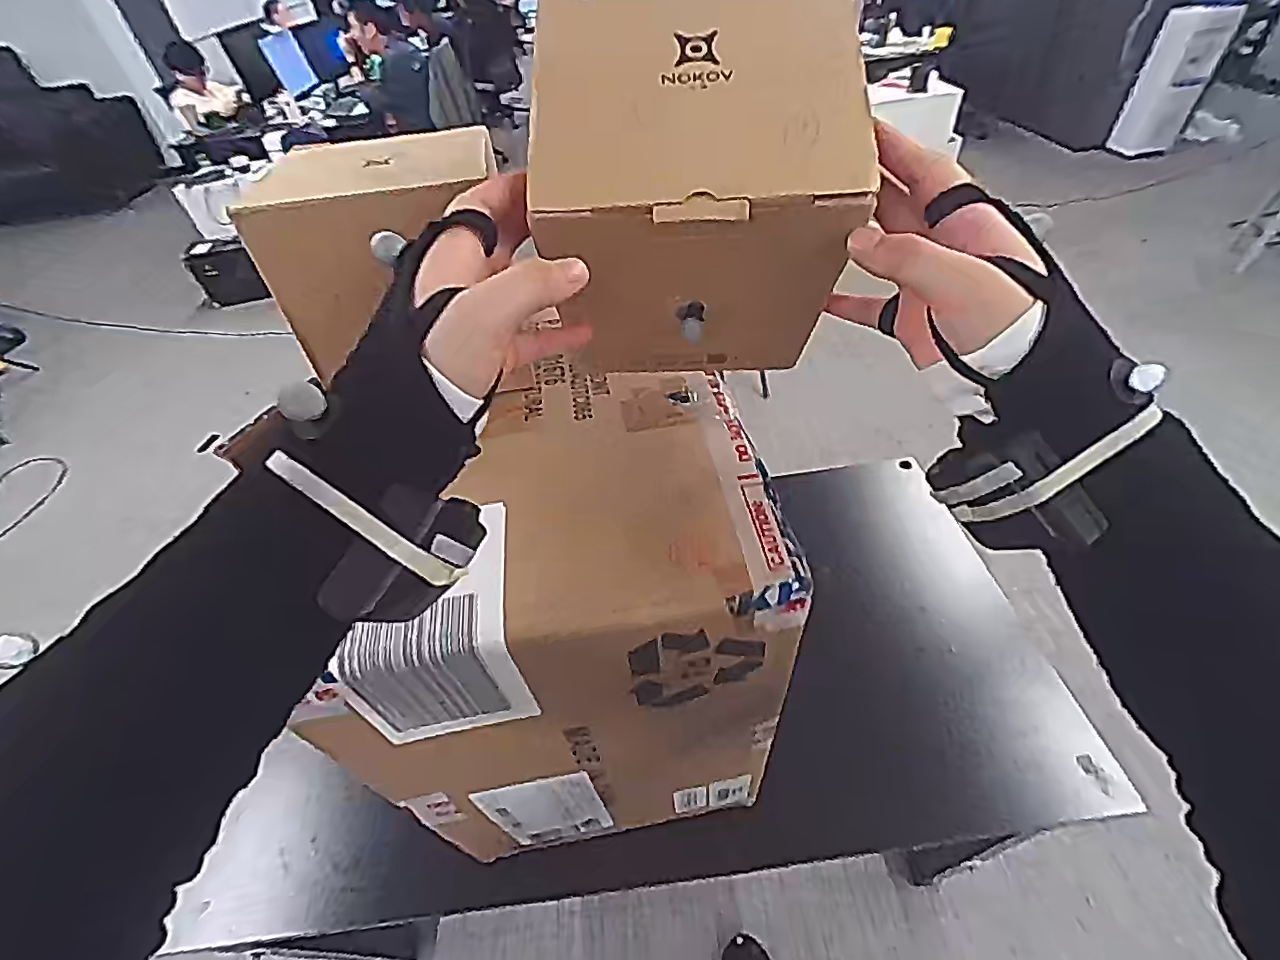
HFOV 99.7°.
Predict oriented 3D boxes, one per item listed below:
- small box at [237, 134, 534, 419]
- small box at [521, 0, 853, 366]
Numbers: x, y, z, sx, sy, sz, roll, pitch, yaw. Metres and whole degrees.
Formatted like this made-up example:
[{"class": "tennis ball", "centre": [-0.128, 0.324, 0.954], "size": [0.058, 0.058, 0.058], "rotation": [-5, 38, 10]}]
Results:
[{"class": "small box", "centre": [-0.193, -0.178, 0.470], "size": [0.168, 0.176, 0.179], "rotation": [-12, 45, -6]}, {"class": "small box", "centre": [0.026, -0.185, 0.360], "size": [0.168, 0.176, 0.179], "rotation": [-2, 74, 3]}]
